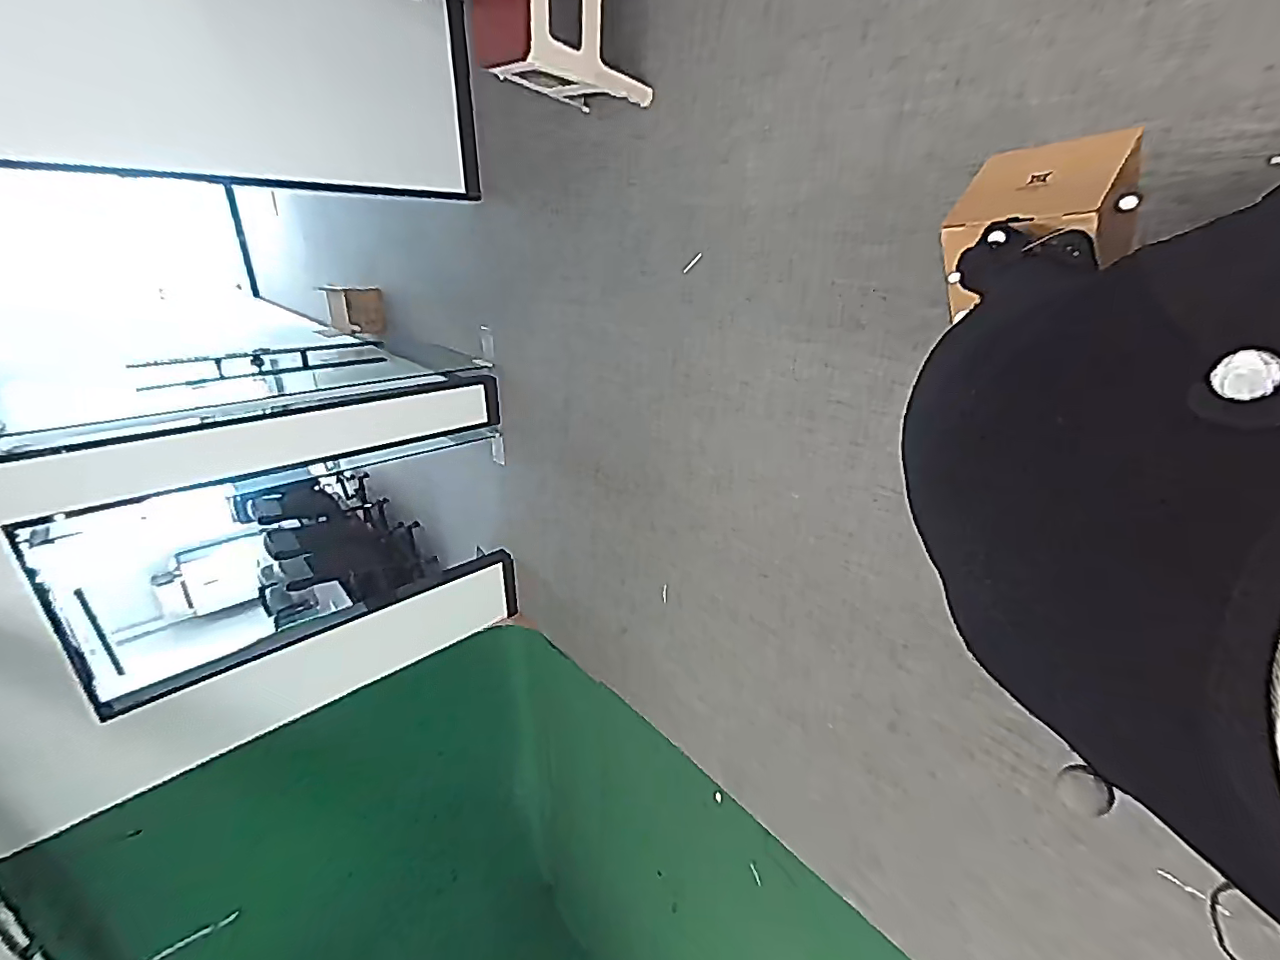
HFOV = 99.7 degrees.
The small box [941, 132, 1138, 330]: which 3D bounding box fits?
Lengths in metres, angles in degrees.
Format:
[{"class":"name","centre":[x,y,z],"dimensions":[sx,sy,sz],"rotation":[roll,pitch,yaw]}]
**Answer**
[{"class":"small box","centre":[0.538,-0.328,0.737],"dimensions":[0.168,0.179,0.176],"rotation":[18,153,46]}]
